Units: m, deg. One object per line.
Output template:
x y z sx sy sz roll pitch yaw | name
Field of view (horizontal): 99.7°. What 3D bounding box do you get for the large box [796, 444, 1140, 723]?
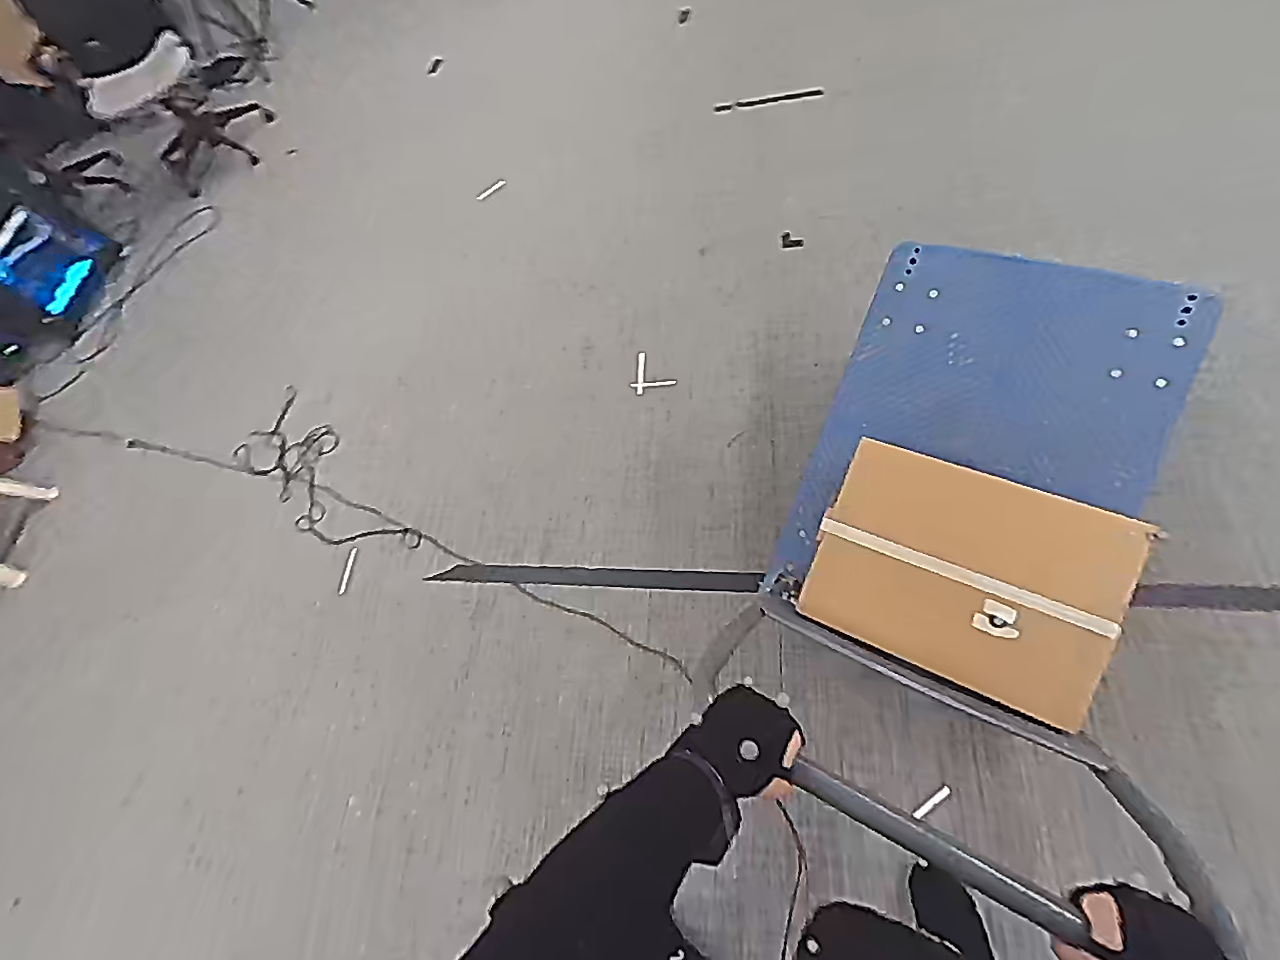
0.536 0.159 0.977 0.408 0.320 0.320 21 92 22 | large box
